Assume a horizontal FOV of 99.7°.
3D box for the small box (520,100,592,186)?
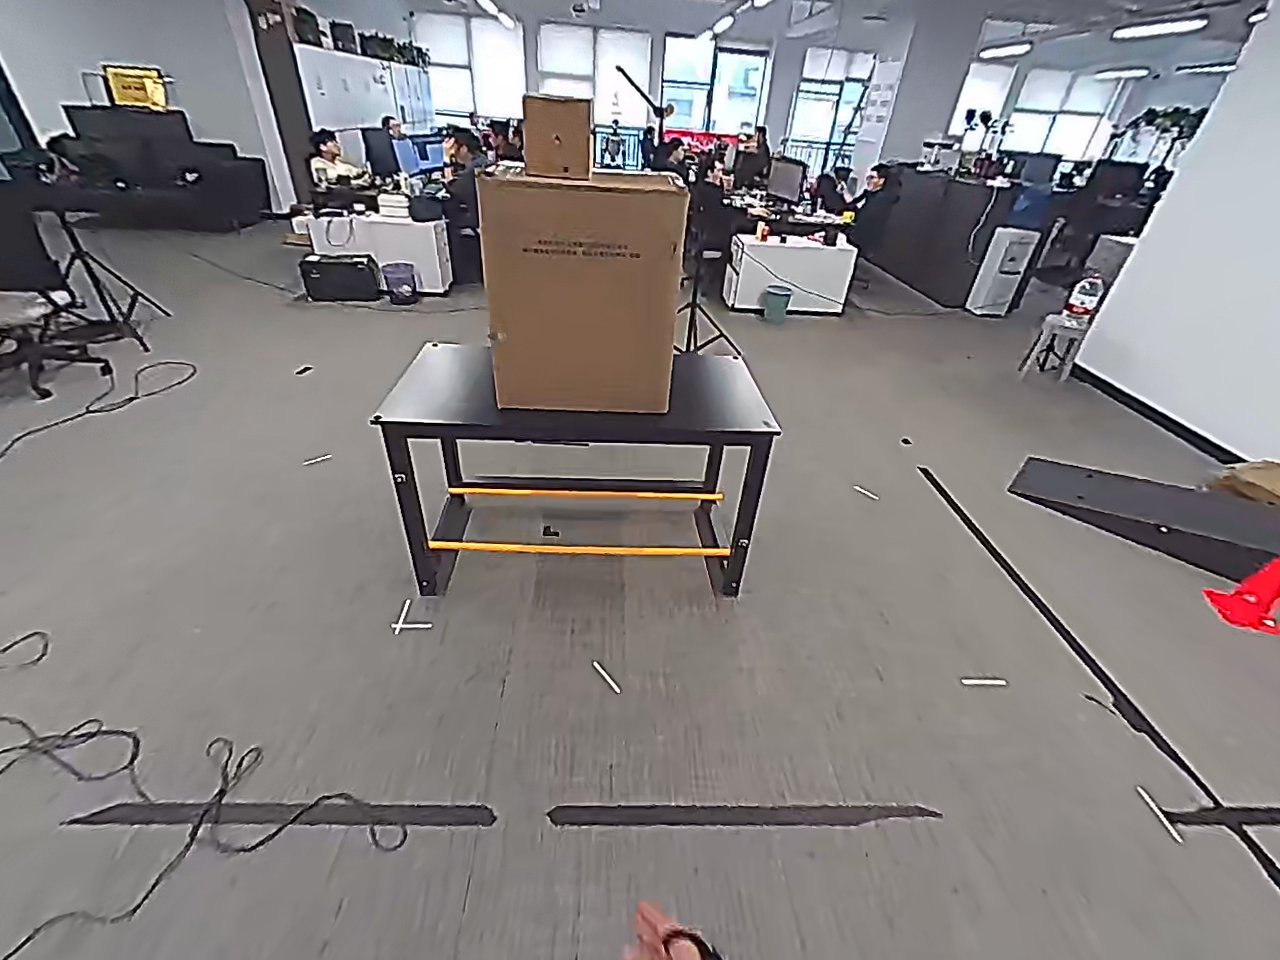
[{"bbox_3d":[-0.209,-0.869,1.394,0.168,0.176,0.179,2,37,-4],"label":"small box"}]
